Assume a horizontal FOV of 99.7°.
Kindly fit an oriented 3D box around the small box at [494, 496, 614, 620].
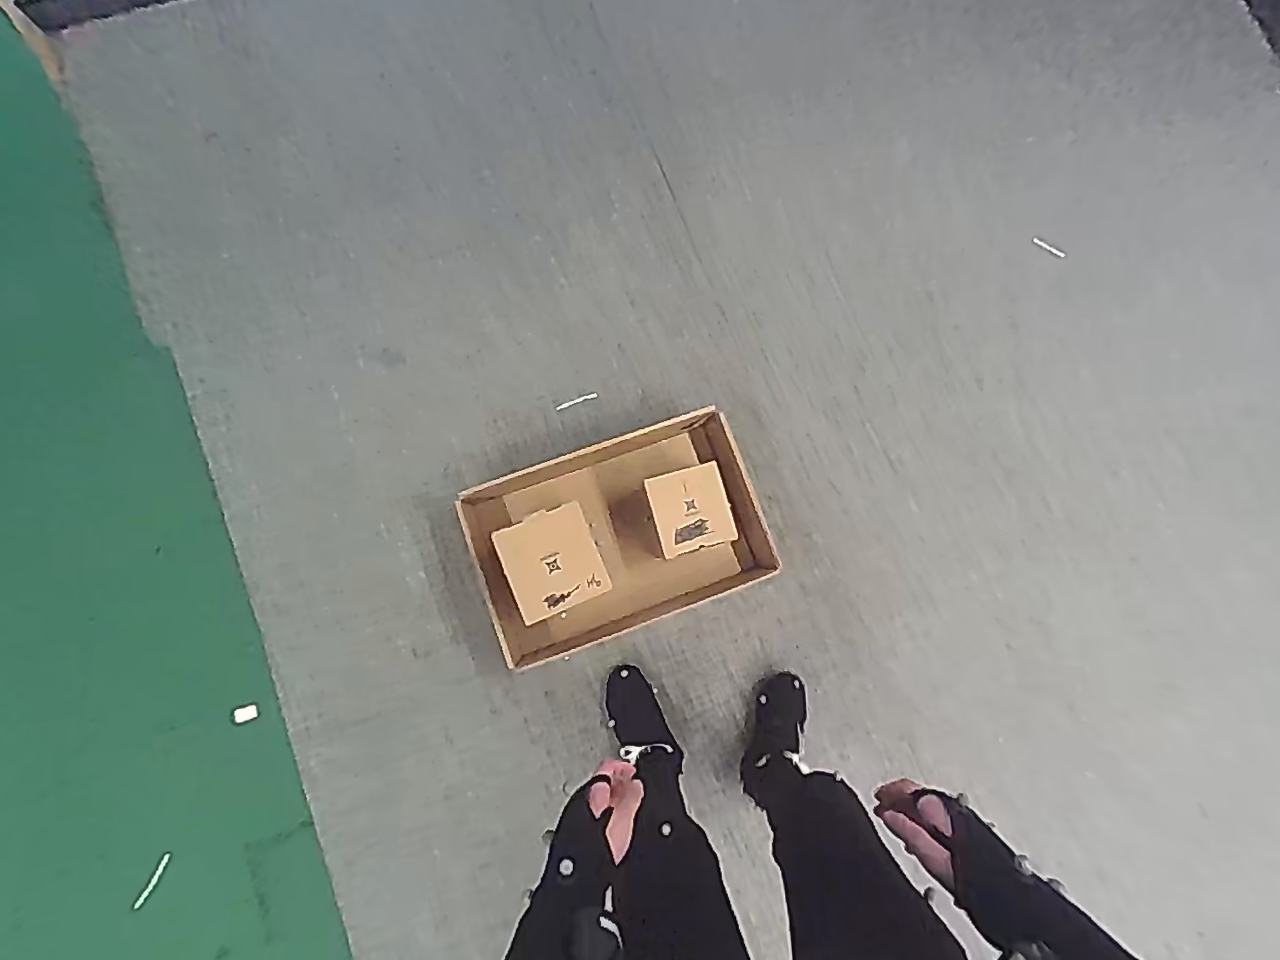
[{"bbox_3d":[-0.158,0.147,1.023,0.168,0.176,0.179,-22,84,-7],"label":"small box"}]
